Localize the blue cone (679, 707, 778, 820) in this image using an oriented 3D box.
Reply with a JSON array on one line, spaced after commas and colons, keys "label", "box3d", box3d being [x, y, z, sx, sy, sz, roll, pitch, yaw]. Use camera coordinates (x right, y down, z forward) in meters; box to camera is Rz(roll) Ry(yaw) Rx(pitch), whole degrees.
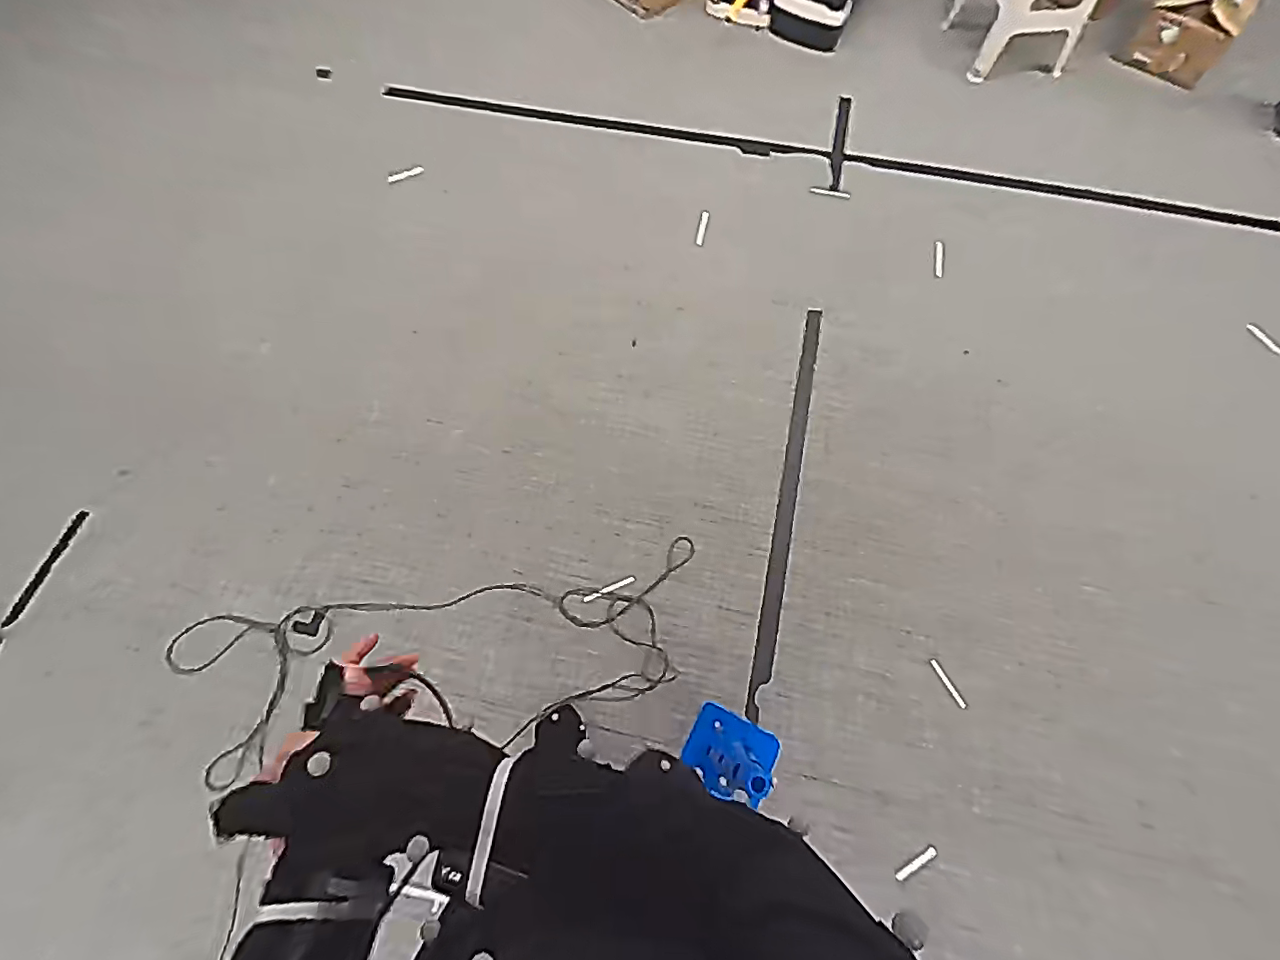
[{"label": "blue cone", "box3d": [0.204, 0.587, 1.091, 0.192, 0.380, 0.193, 28, 70, 9]}]
